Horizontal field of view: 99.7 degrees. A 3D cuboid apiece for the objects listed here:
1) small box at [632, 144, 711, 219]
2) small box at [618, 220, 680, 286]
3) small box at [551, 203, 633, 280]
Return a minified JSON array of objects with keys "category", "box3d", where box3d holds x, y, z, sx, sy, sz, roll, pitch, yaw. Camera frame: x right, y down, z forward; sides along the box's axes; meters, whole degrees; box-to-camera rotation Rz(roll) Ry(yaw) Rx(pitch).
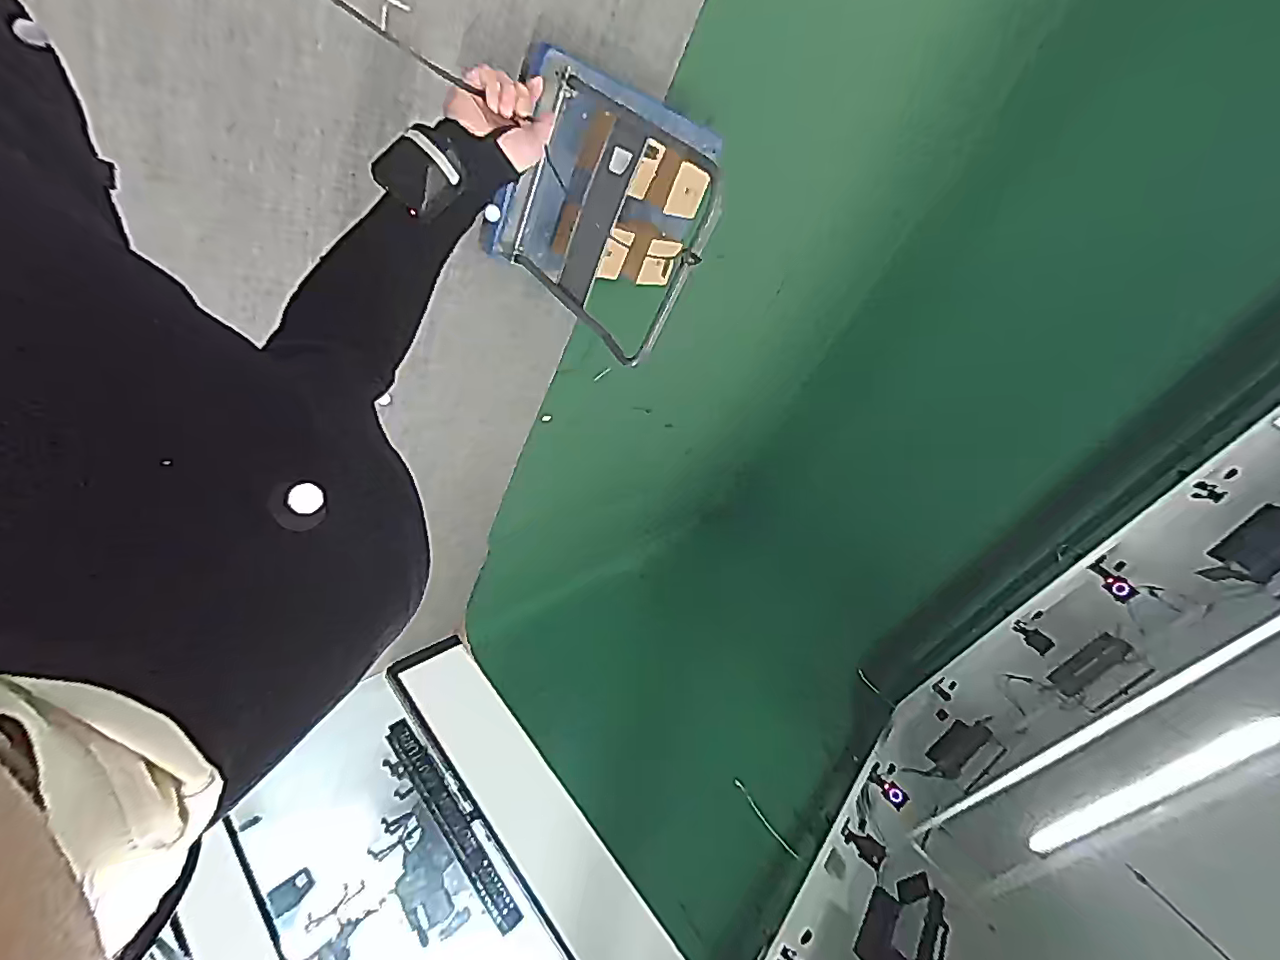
[{"category":"small box","box3d":[0.102,-1.020,1.846,0.179,0.176,0.168,-19,146,-46]},{"category":"small box","box3d":[0.011,-0.837,1.992,0.179,0.176,0.168,-18,144,-45]},{"category":"small box","box3d":[-0.161,-0.789,1.789,0.179,0.176,0.168,-14,142,-49]}]
